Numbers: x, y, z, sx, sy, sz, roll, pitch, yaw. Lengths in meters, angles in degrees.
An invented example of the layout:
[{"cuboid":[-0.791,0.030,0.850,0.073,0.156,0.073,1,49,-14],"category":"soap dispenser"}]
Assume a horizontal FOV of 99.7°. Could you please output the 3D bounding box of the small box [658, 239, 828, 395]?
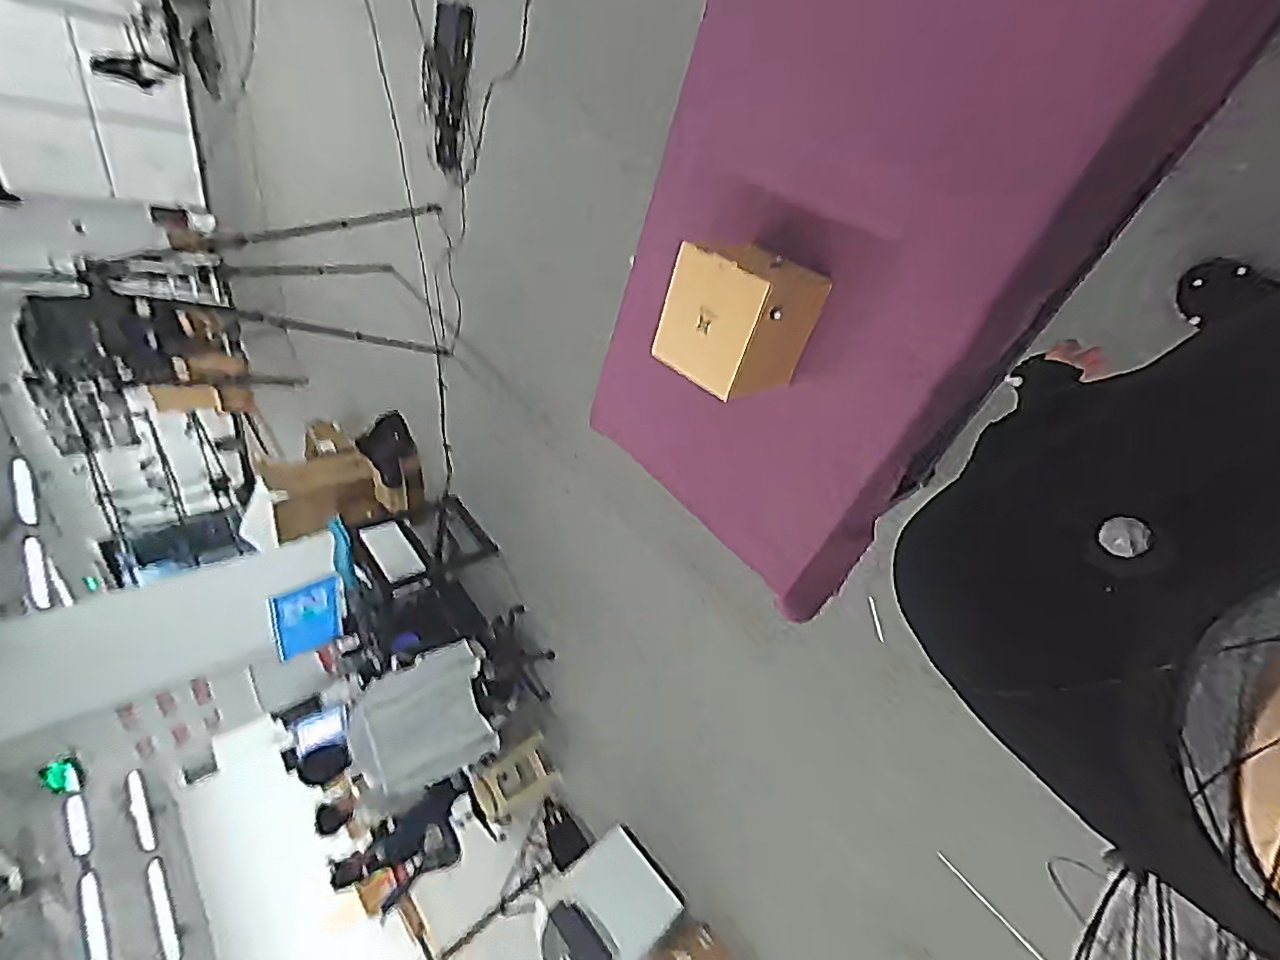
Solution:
[{"cuboid":[0.159,-0.254,0.836,0.168,0.176,0.179,40,129,31],"category":"small box"}]
